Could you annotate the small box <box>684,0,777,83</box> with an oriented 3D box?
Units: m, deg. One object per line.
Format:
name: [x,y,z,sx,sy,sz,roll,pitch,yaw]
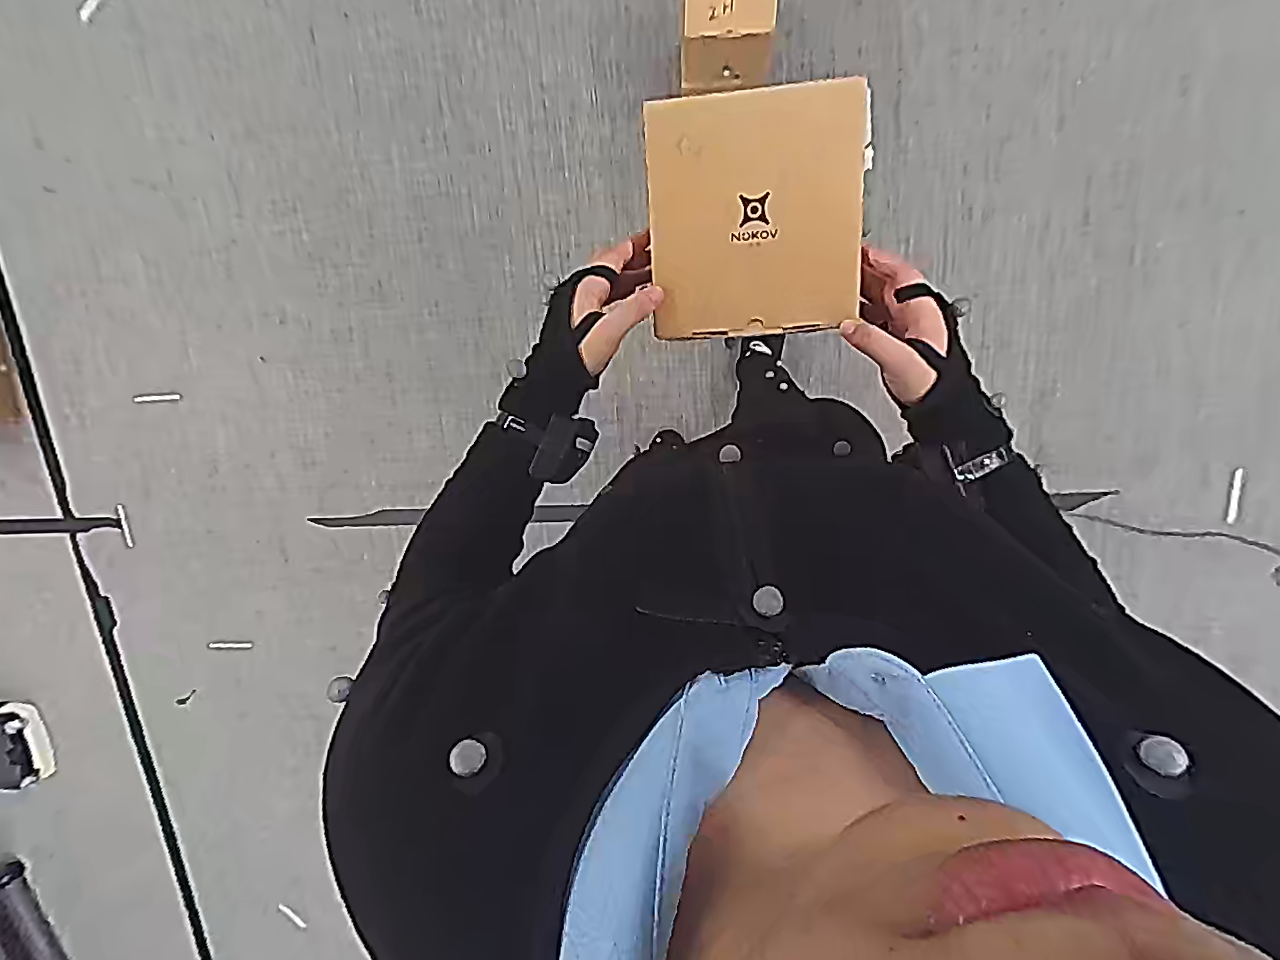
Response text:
small box: [0.172,-0.899,1.032,0.168,0.176,0.179,2,103,7]
